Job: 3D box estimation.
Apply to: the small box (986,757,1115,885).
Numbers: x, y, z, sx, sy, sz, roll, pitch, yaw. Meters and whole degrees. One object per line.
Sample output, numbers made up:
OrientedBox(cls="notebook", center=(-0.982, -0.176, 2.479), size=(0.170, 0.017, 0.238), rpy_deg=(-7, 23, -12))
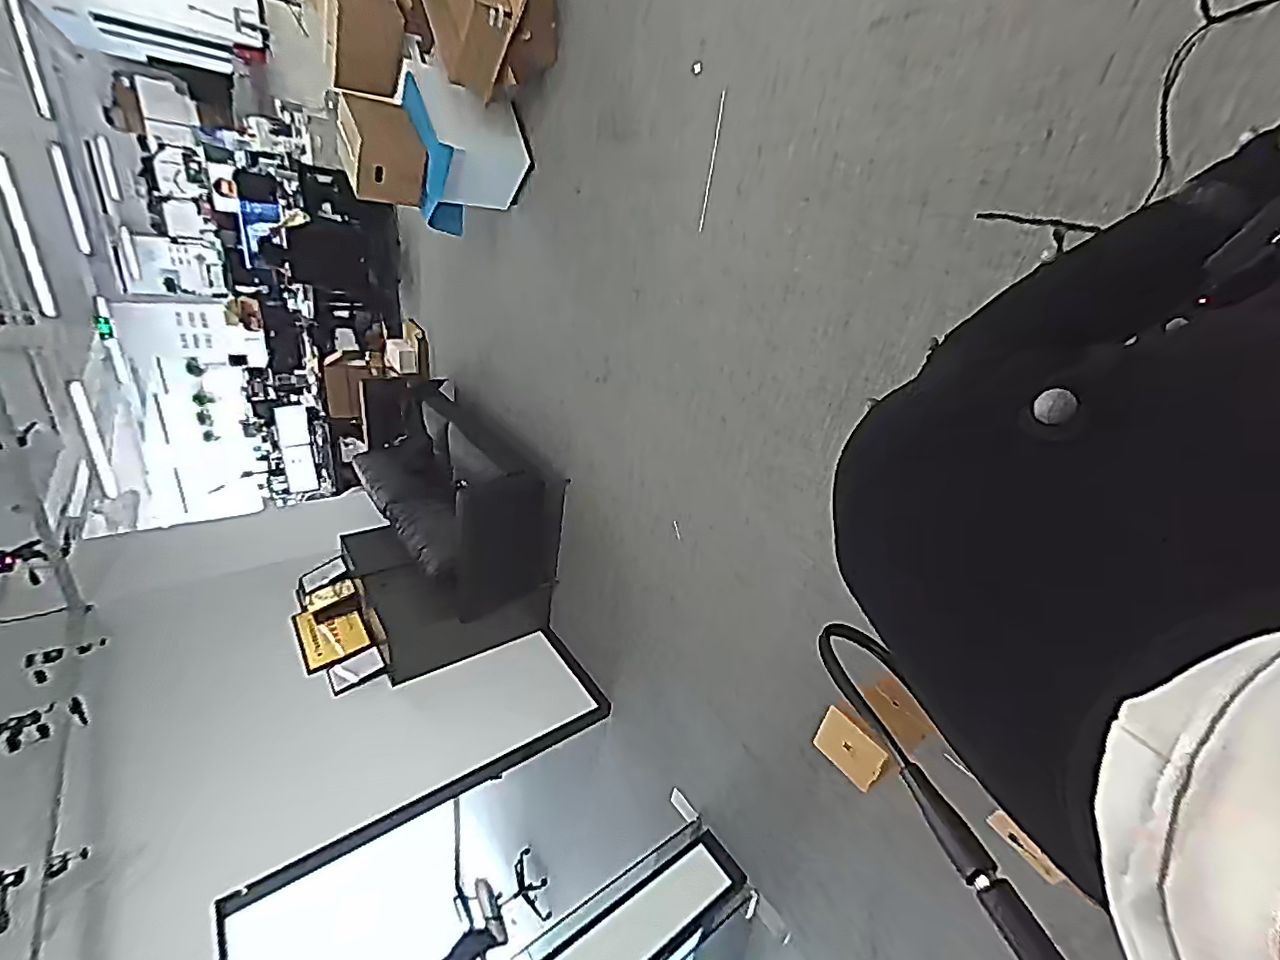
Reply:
OrientedBox(cls="small box", center=(0.985, 0.805, 1.294), size=(0.168, 0.176, 0.179), rpy_deg=(45, 132, 38))

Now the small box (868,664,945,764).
OrientedBox(cls="small box", center=(0.749, 0.670, 1.570), size=(0.168, 0.176, 0.179), rpy_deg=(39, 129, 41))

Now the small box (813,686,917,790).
OrientedBox(cls="small box", center=(0.615, 0.693, 1.481), size=(0.179, 0.176, 0.168), rpy_deg=(38, 128, 41))
